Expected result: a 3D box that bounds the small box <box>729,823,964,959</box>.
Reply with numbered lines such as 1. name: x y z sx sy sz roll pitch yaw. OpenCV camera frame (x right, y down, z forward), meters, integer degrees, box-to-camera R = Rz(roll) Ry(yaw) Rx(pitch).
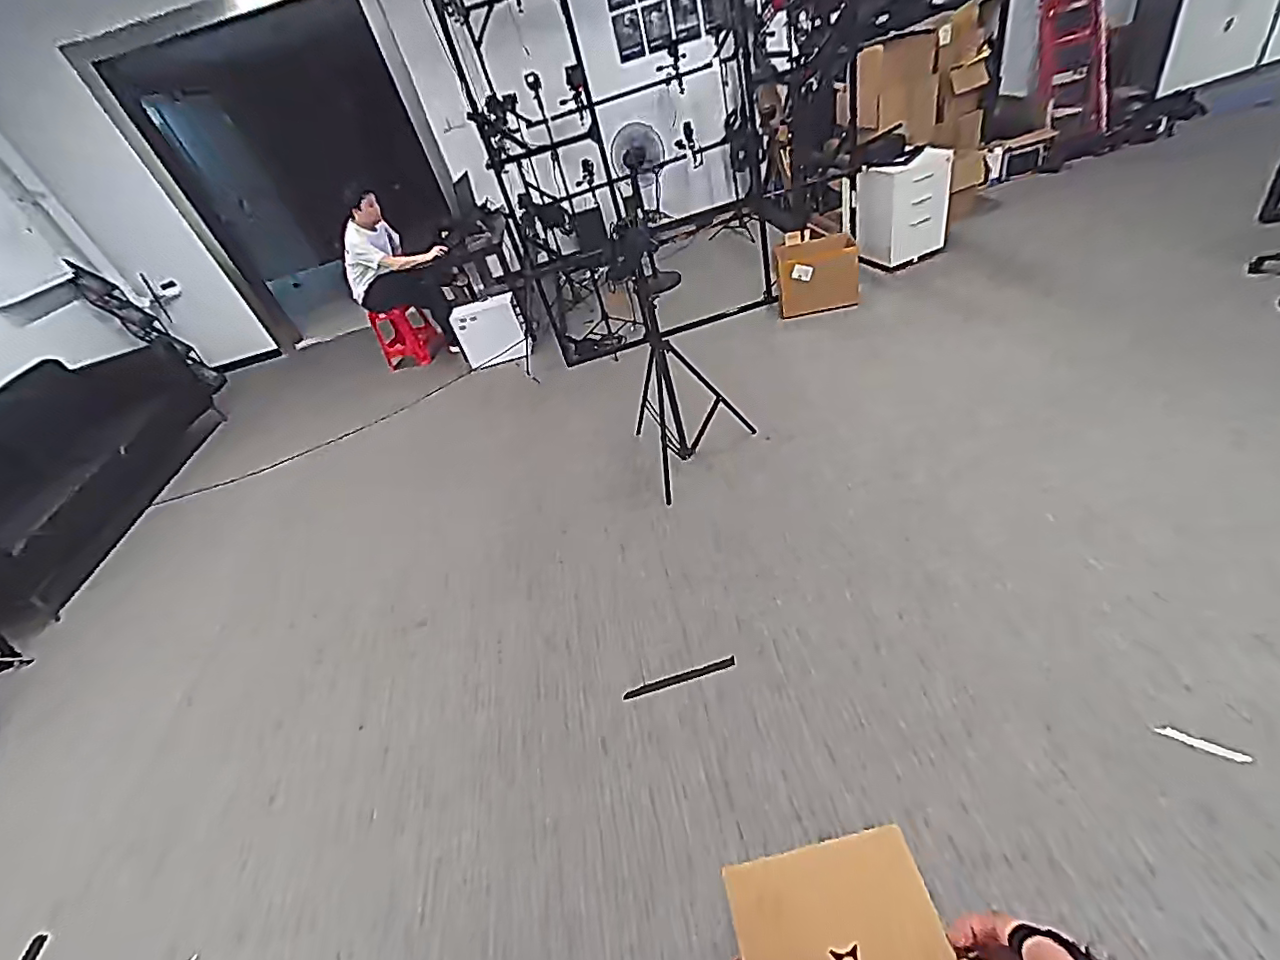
1. small box: 0.185 0.436 0.479 0.168 0.176 0.179 -16 48 2
